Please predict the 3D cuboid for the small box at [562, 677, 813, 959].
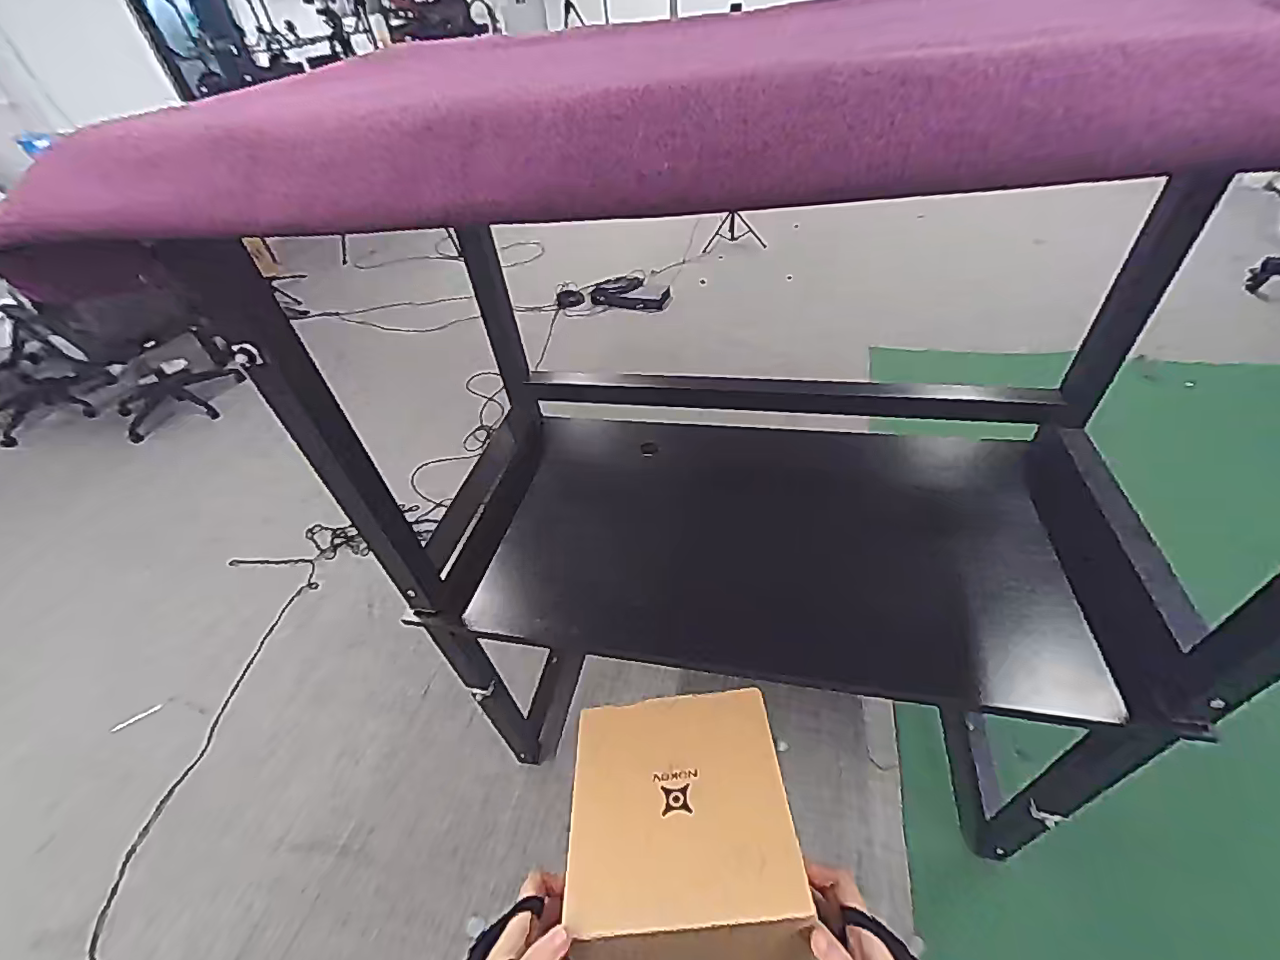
[{"bbox_3d":[0.042,0.300,0.452,0.168,0.176,0.179,-8,29,3],"label":"small box"}]
